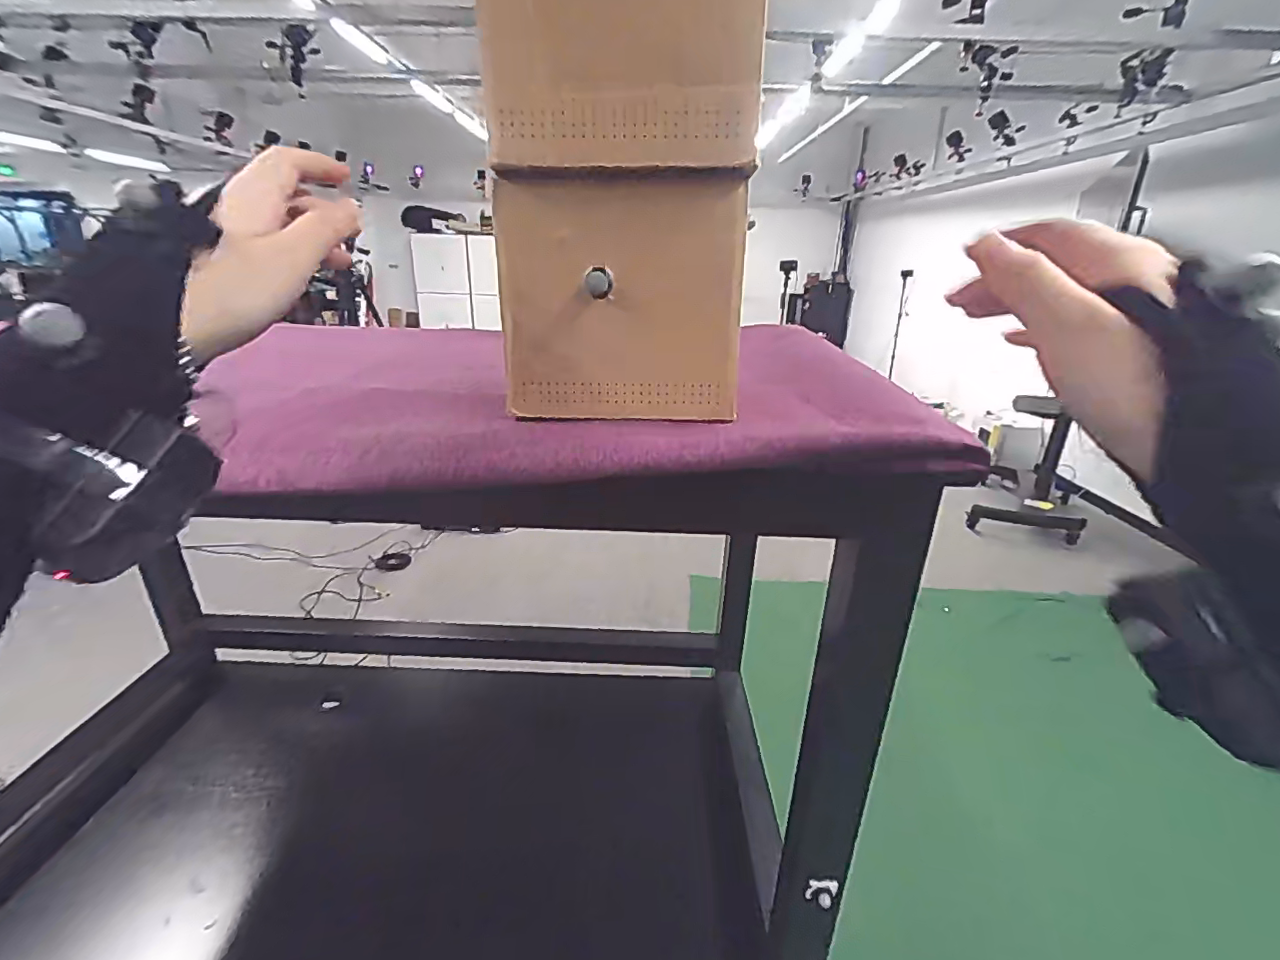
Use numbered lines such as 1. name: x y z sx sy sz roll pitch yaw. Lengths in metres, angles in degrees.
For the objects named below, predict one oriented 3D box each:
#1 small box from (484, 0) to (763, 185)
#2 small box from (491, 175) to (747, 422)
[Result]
1. small box: -0.009 -0.297 0.392 0.179 0.176 0.168 1 20 1
2. small box: -0.011 -0.148 0.460 0.179 0.176 0.168 0 20 2
